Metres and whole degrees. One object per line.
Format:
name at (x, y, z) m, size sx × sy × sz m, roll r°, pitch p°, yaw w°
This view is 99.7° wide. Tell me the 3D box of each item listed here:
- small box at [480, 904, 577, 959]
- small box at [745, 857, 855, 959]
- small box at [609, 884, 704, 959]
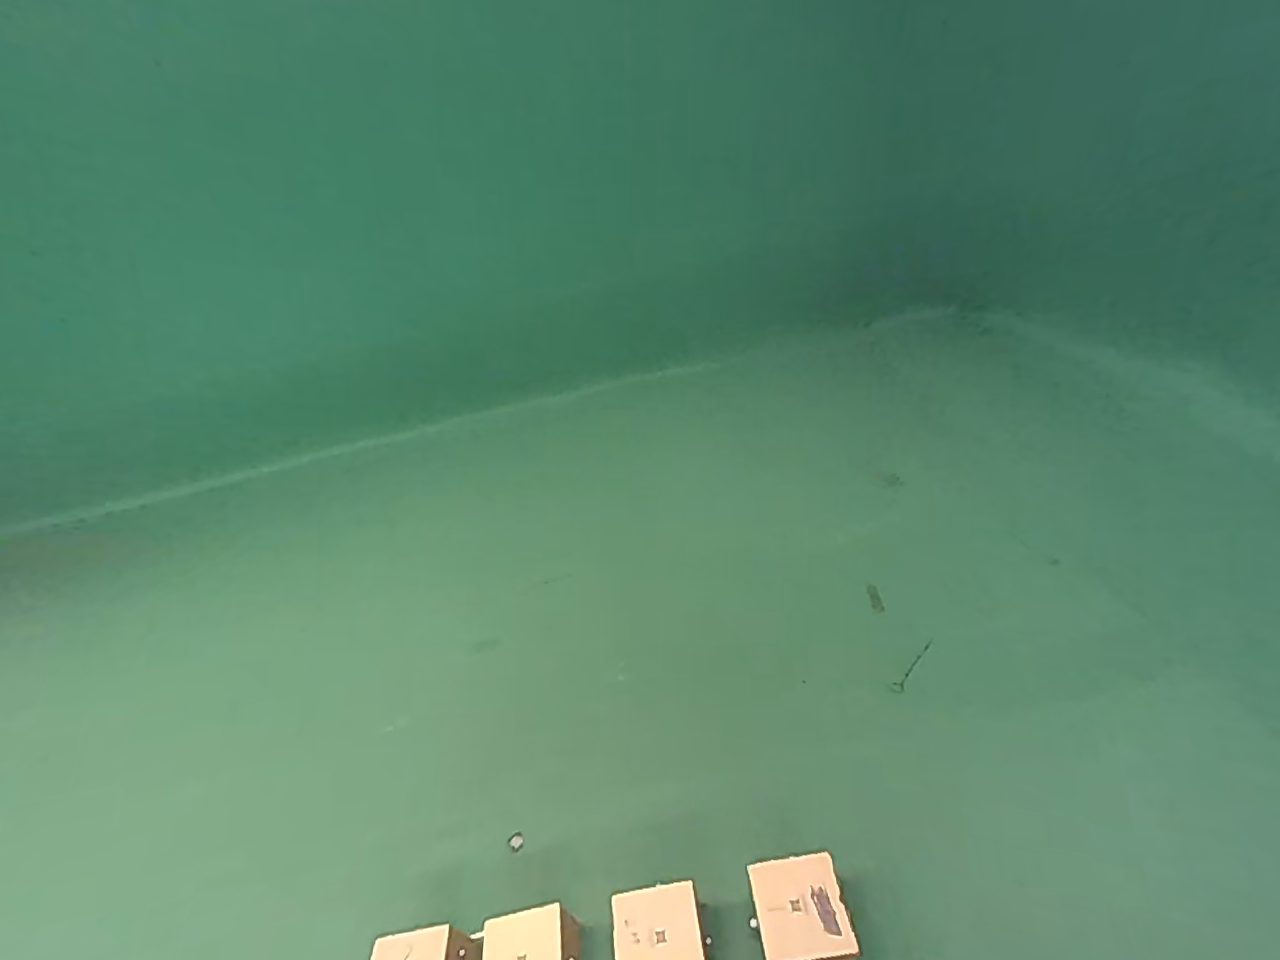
small box at (-0.230, 1.027, 1.125) m, size 0.168 × 0.176 × 0.179 m, roll -13°, pitch 39°, yaw -1°
small box at (0.322, 0.910, 1.117) m, size 0.179 × 0.176 × 0.168 m, roll -11°, pitch 38°, yaw 3°
small box at (0.040, 0.970, 1.119) m, size 0.179 × 0.176 × 0.168 m, roll -11°, pitch 38°, yaw 1°
